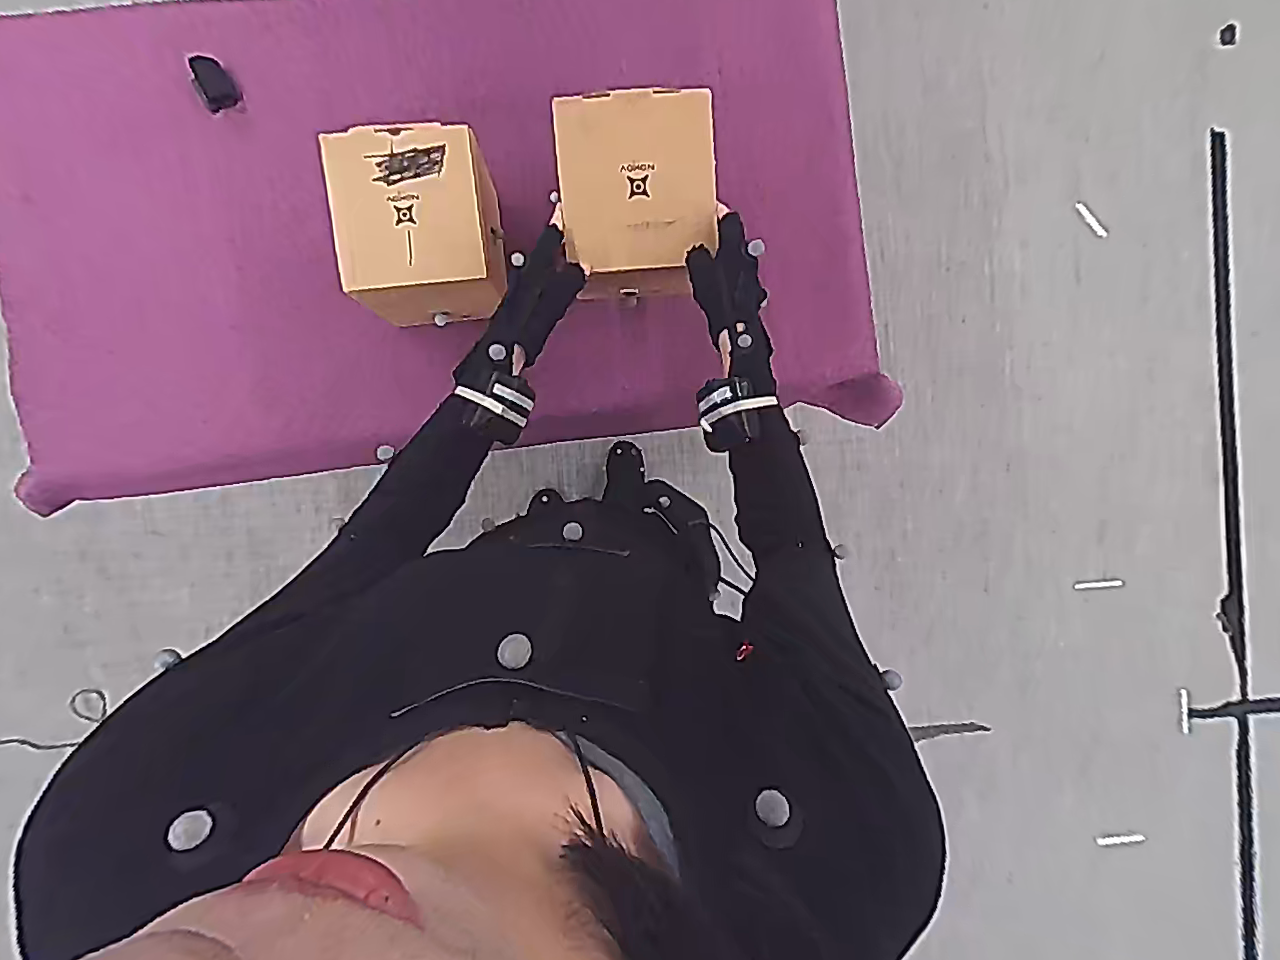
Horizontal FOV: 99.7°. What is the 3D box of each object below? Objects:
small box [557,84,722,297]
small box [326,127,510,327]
[{"bbox_3d":[-0.003,-0.328,0.644,0.168,0.176,0.179,-5,100,-1],"label":"small box"},{"bbox_3d":[-0.269,-0.310,0.691,0.168,0.176,0.179,-7,93,-4],"label":"small box"}]
